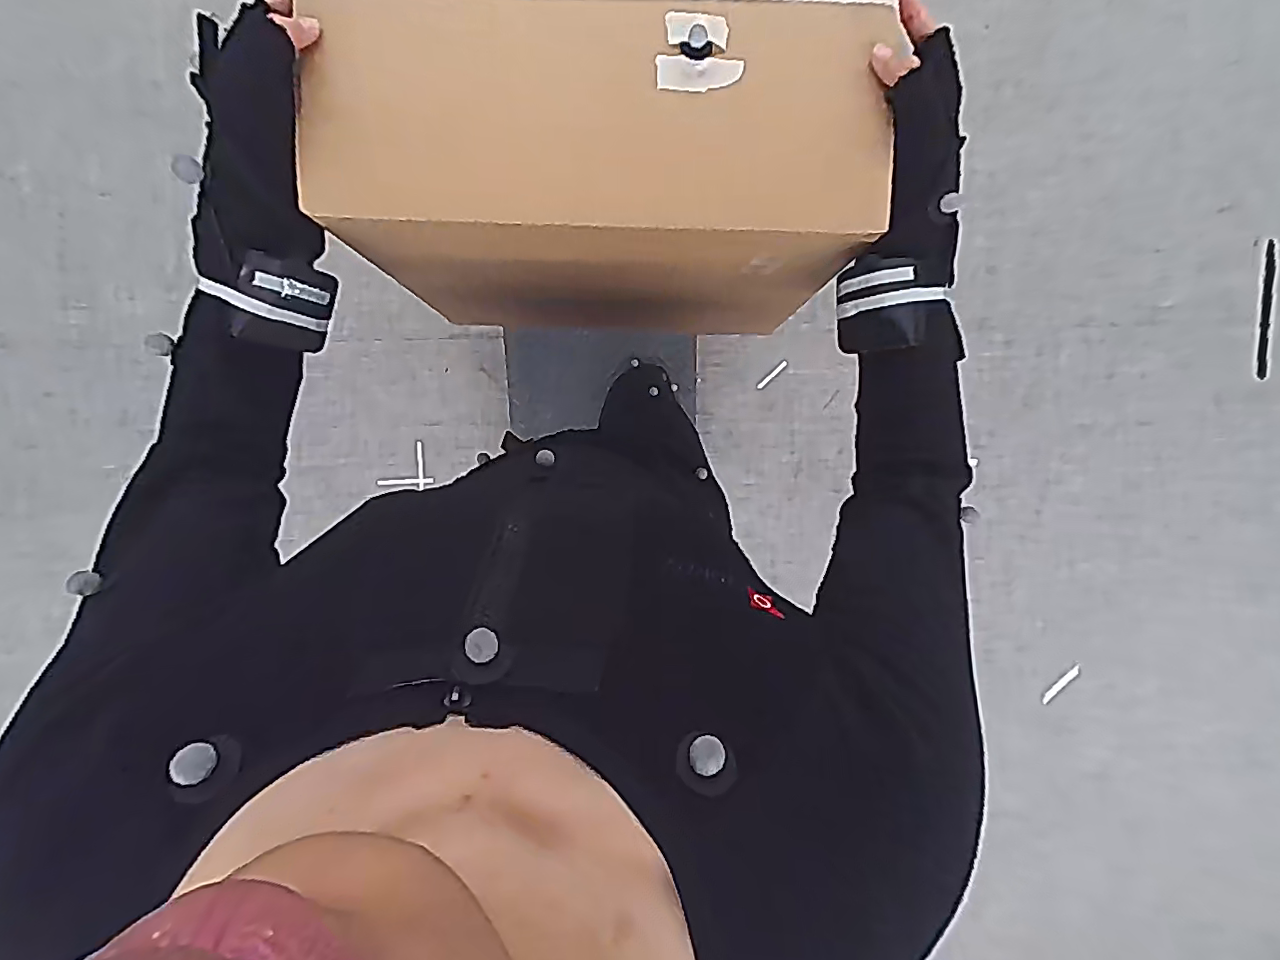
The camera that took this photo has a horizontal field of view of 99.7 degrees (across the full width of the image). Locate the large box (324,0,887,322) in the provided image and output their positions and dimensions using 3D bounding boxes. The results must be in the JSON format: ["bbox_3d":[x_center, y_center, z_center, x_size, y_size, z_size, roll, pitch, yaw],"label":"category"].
[{"bbox_3d":[-0.026,-0.348,0.529,0.408,0.320,0.320,1,93,-1],"label":"large box"}]
